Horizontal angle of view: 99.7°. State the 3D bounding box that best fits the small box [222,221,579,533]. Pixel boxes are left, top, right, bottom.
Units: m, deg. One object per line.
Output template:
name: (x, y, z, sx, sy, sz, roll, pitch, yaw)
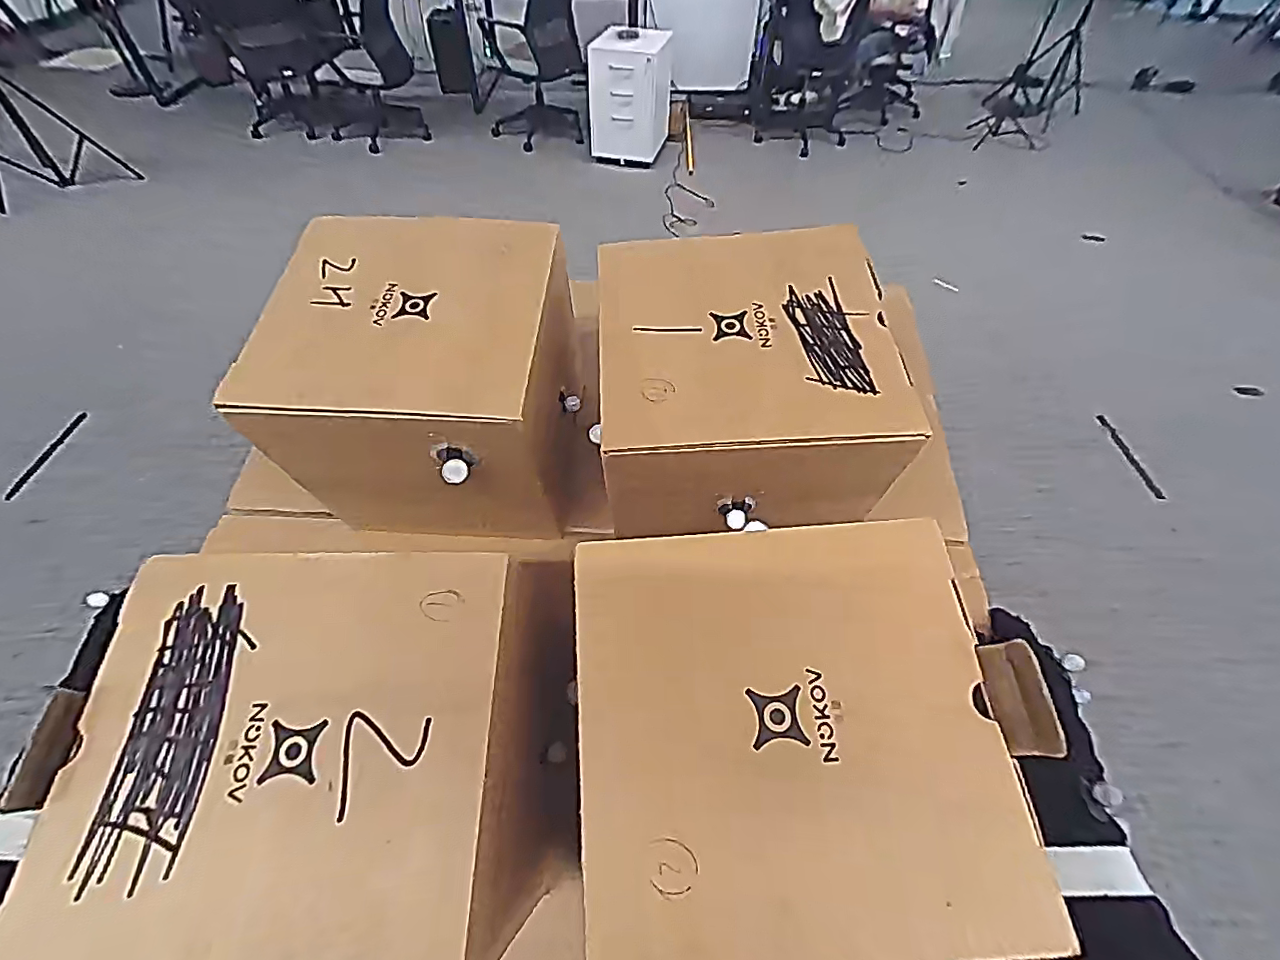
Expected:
small box: (-0.148, -0.068, 0.414, 0.179, 0.176, 0.168, 3, 60, 3)
